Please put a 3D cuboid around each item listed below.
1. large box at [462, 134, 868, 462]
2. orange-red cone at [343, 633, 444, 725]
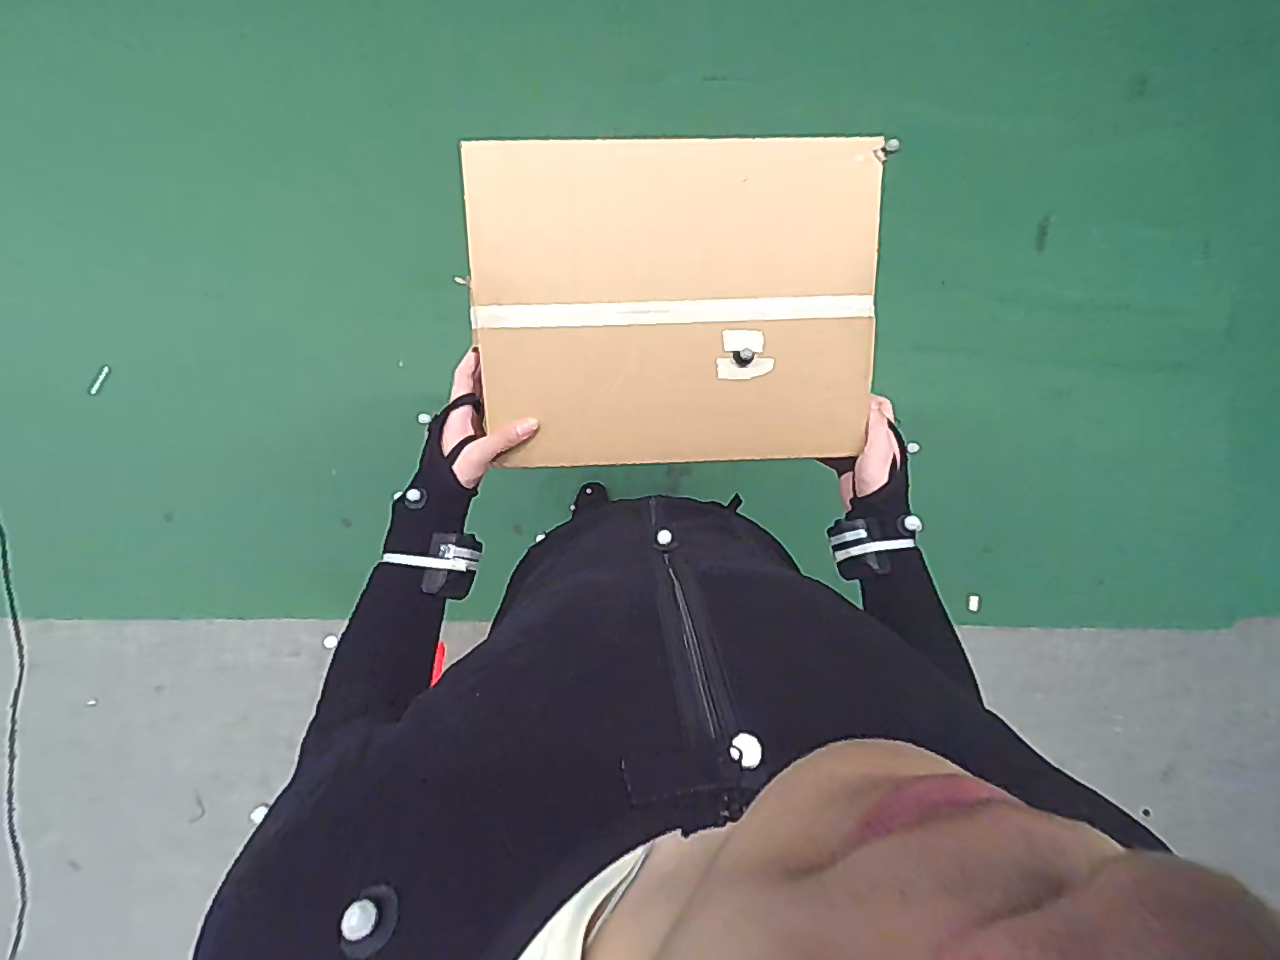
[{"bbox_3d":[0.023,-0.211,0.698,0.408,0.320,0.320,-3,103,-3],"label":"large box"},{"bbox_3d":[-0.678,0.551,1.413,0.199,0.360,0.198,9,88,-3],"label":"orange-red cone"}]
